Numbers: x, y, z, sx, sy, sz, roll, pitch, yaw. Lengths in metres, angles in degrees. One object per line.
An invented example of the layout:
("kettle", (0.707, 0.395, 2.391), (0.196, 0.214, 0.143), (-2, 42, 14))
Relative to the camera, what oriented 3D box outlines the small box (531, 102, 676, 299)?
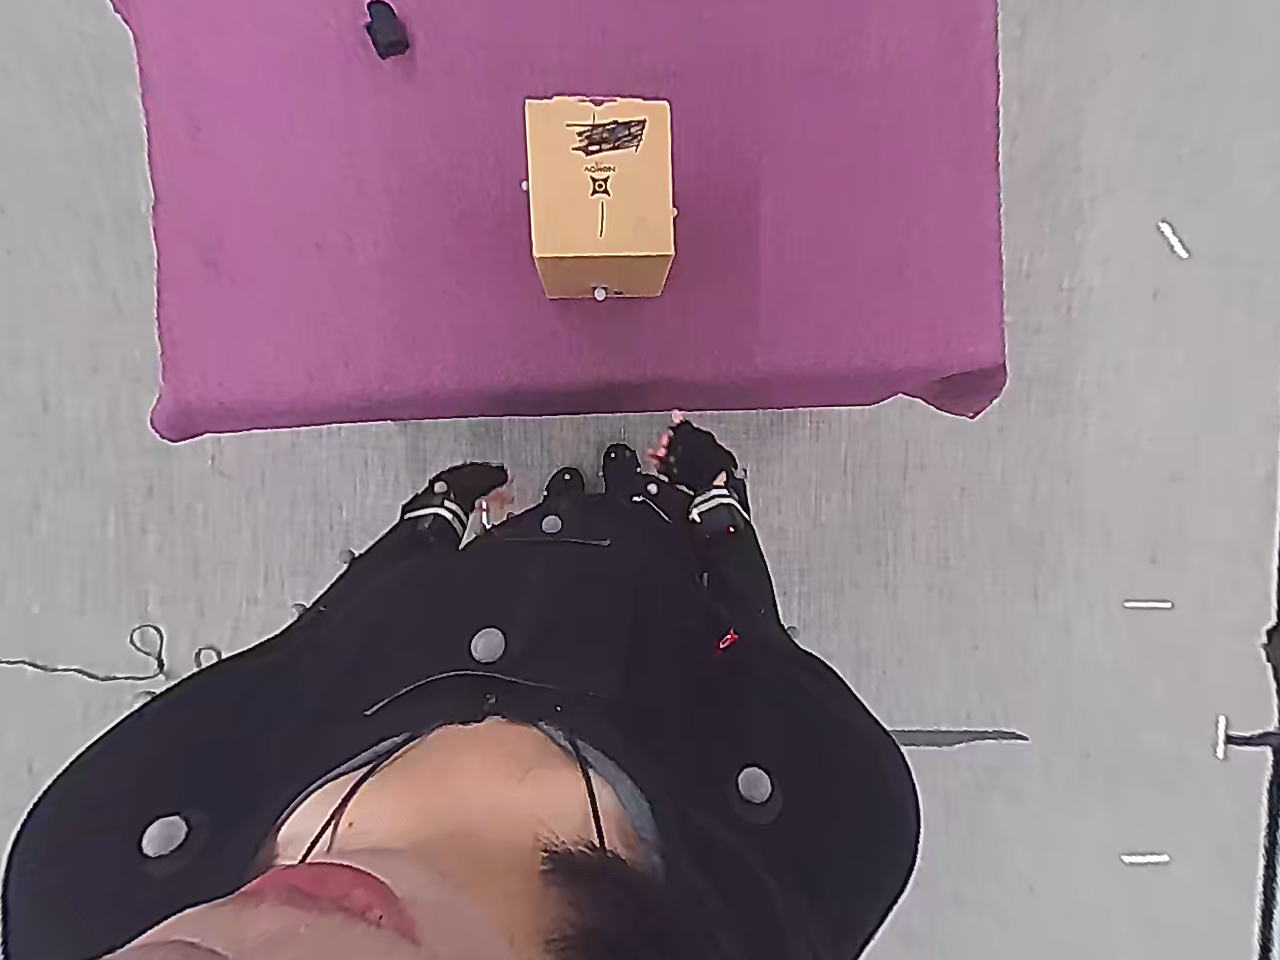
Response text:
("small box", (-0.047, -0.348, 0.700), (0.168, 0.176, 0.179), (-2, 93, -3))
